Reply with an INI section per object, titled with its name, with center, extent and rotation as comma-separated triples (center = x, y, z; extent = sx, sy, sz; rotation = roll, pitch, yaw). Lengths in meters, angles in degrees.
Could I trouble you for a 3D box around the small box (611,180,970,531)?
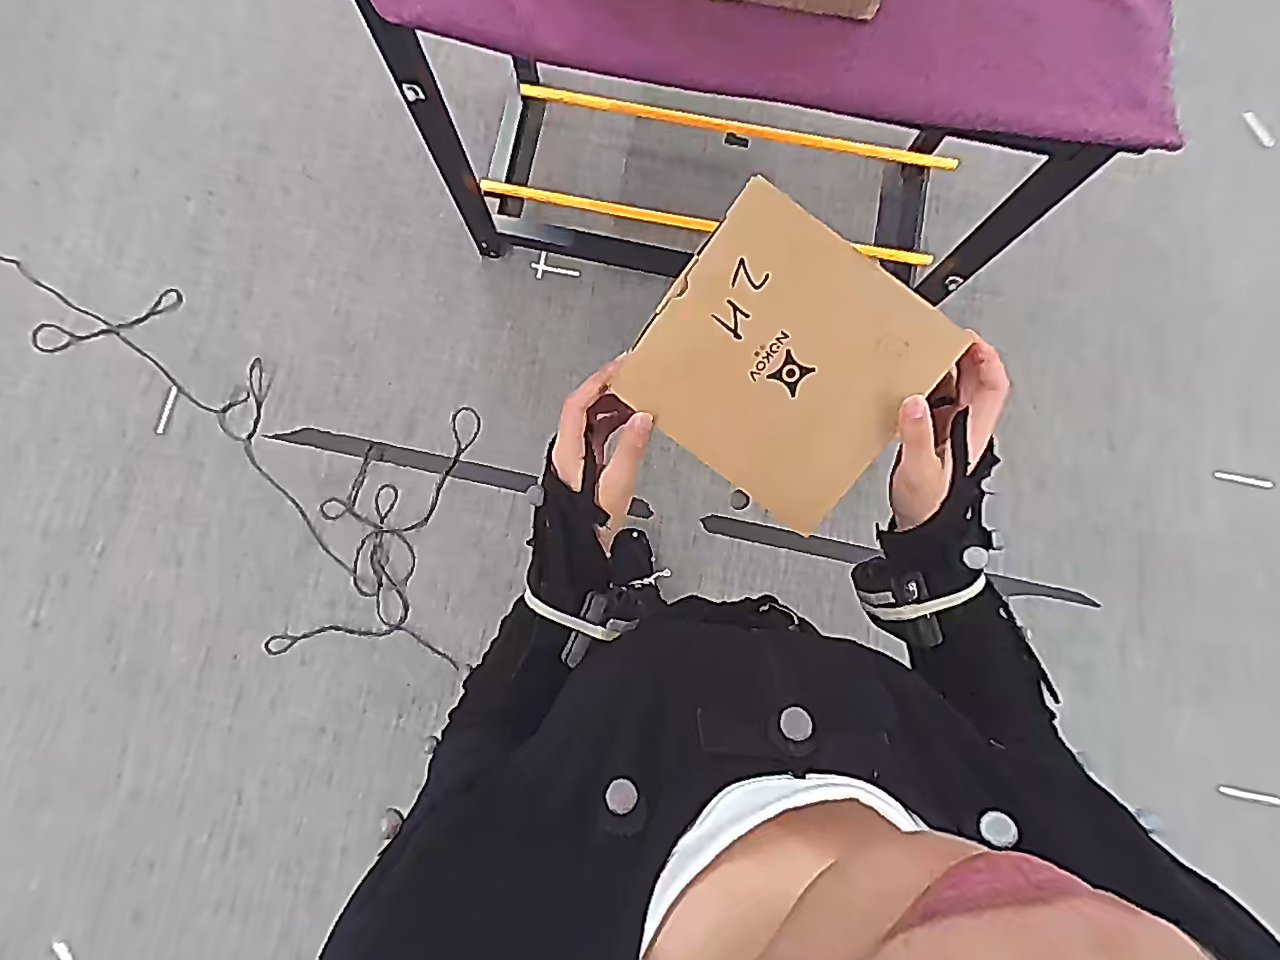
[small box]
center = 0.104, -0.091, 0.435
extent = 0.179, 0.176, 0.168
rotation = 36, 101, 0
